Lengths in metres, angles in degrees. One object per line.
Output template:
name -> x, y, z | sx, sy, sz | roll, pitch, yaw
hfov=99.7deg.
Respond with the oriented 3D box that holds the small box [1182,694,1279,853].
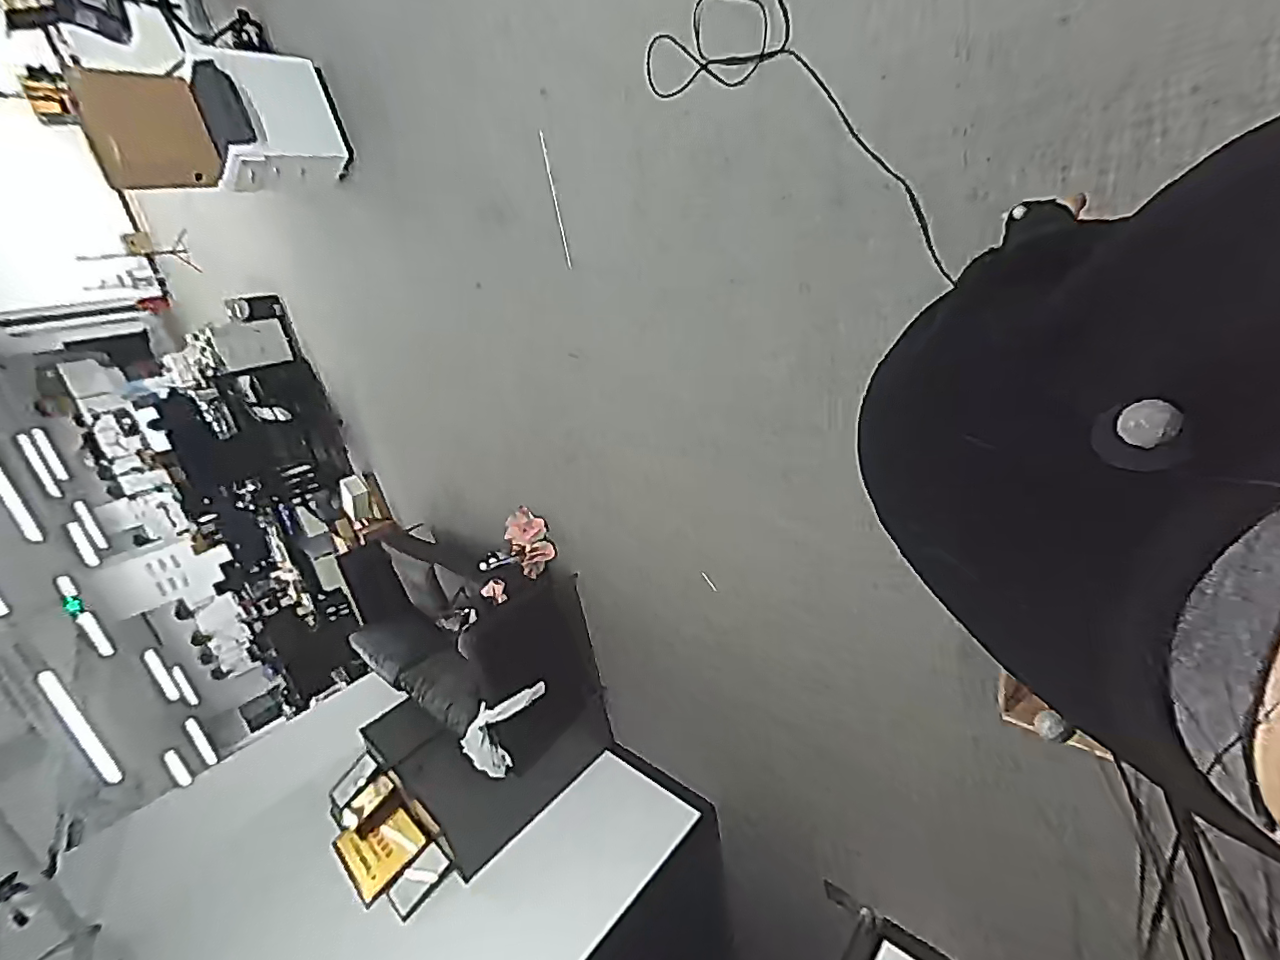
small box -> 1.129, 0.535, 0.987 | 0.168, 0.176, 0.179 | 13, 120, 42
